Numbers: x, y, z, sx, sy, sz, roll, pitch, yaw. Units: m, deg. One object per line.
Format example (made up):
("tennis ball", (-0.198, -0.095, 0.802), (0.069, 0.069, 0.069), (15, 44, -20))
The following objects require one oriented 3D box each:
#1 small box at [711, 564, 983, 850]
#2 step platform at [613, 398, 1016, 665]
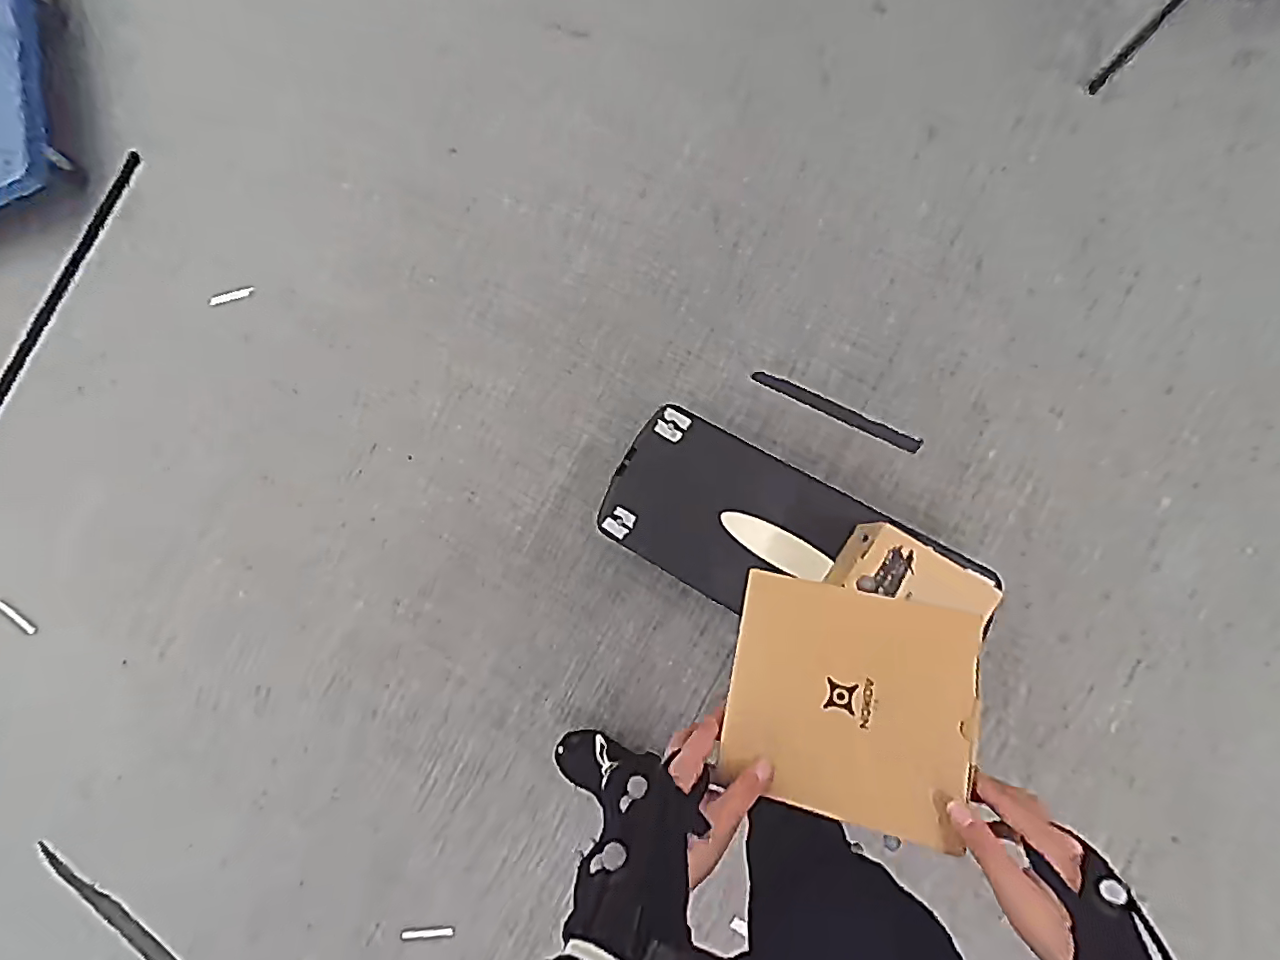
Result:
("small box", (0.170, 0.181, 0.477), (0.179, 0.176, 0.168), (9, 77, 15))
("step platform", (0.291, 0.115, 1.009), (0.684, 0.204, 0.286), (29, 89, 12))
